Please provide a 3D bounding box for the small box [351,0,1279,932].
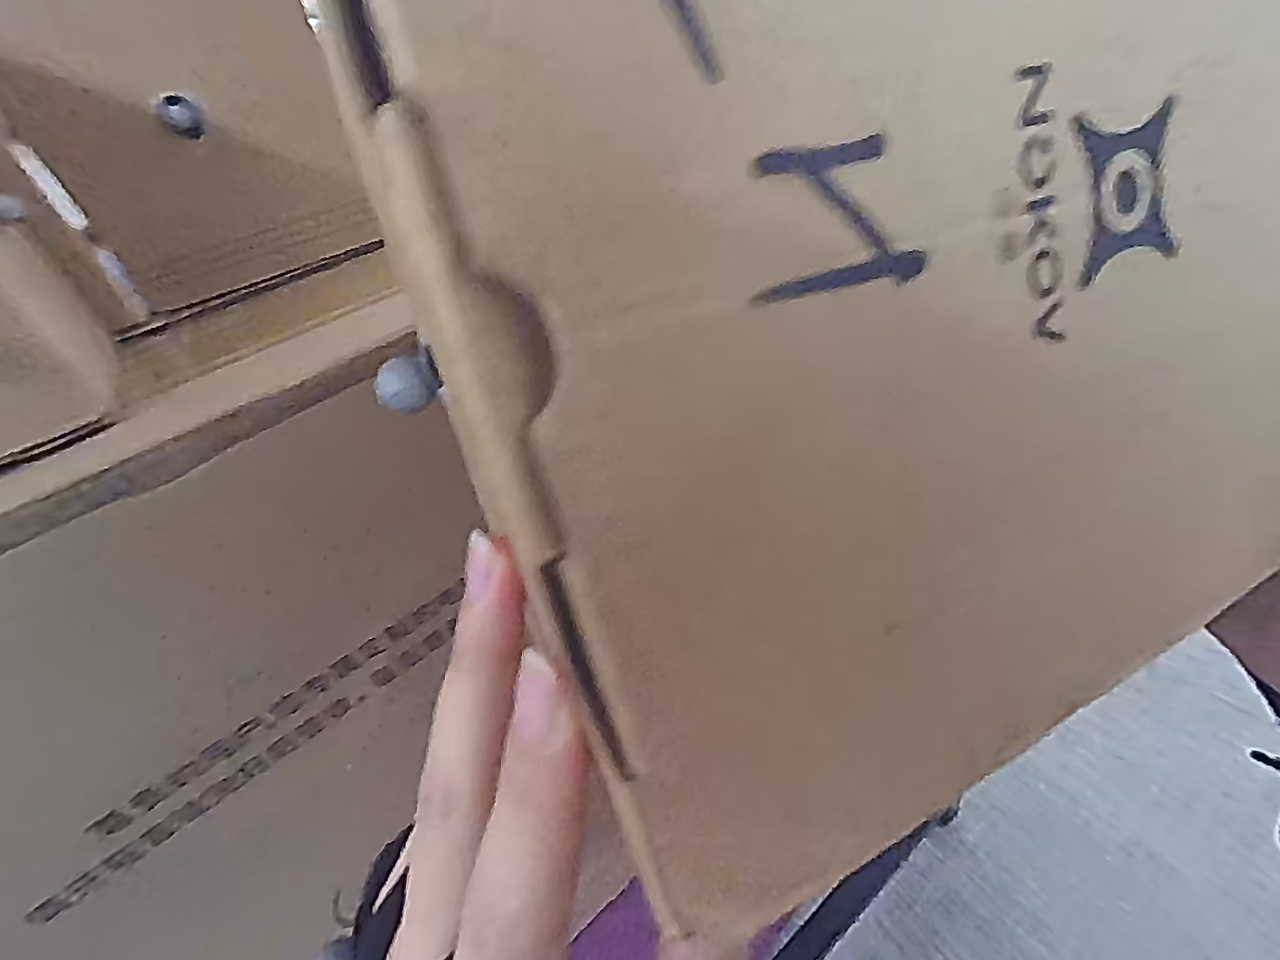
[{"bbox_3d":[0.034,-0.047,0.160,0.179,0.168,0.176,-20,14,-17],"label":"small box"}]
